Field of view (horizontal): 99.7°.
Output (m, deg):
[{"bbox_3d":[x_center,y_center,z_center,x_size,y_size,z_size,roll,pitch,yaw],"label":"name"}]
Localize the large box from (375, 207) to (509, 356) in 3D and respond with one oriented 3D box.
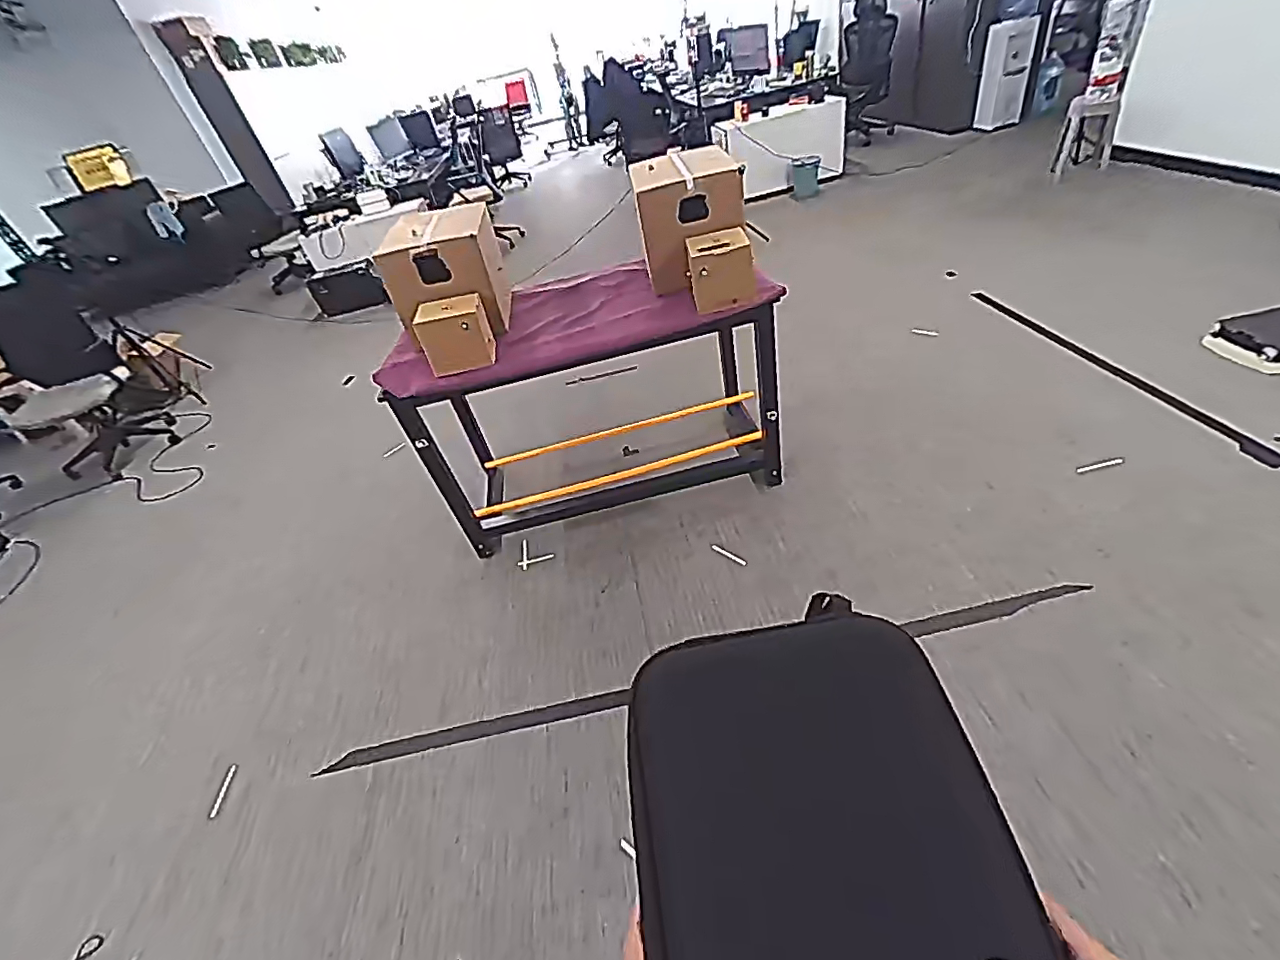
[{"bbox_3d":[-0.633,-0.671,1.806,0.320,0.320,0.408,-14,42,-1],"label":"large box"}]
